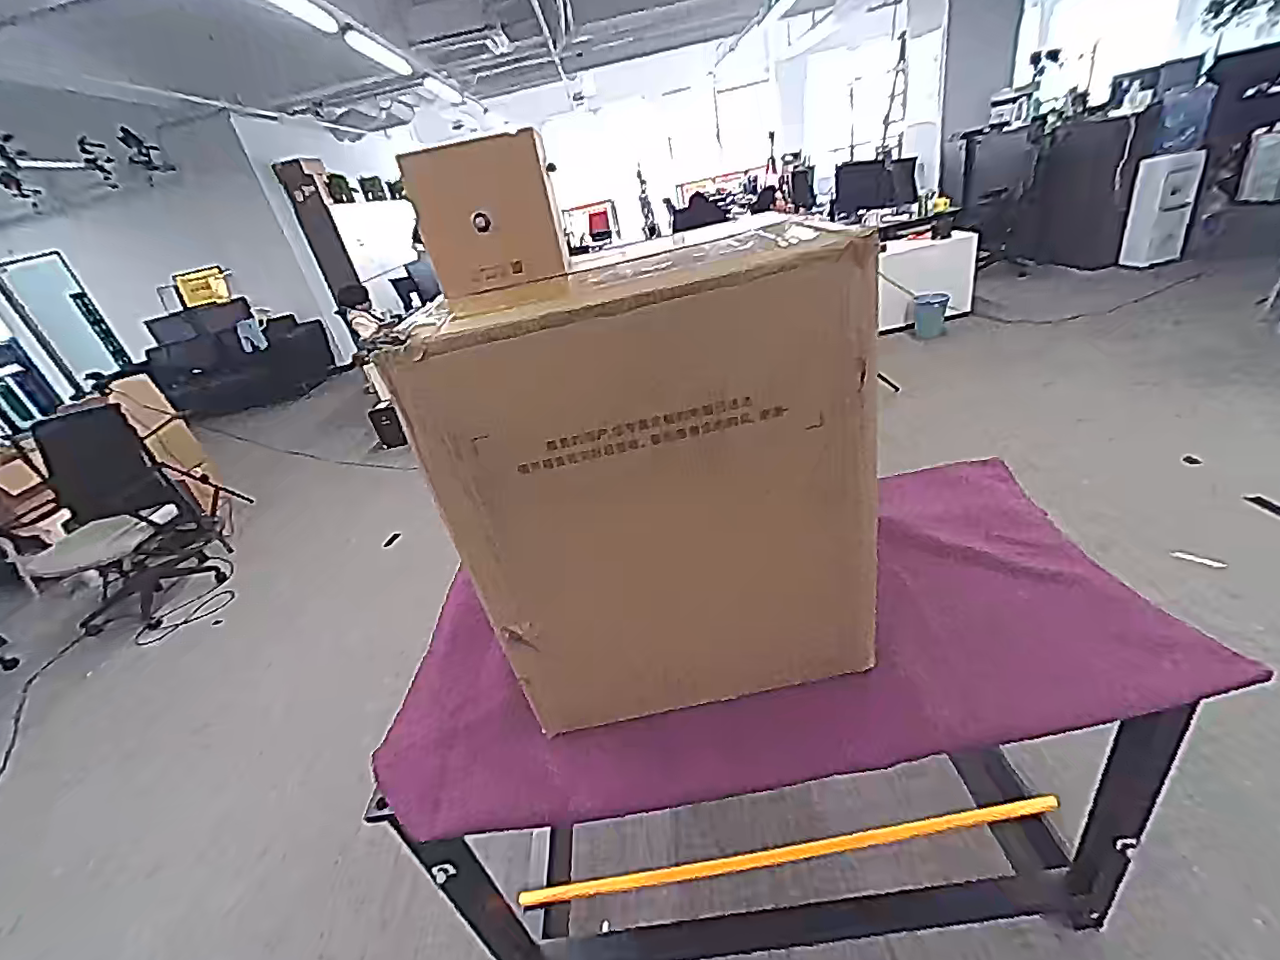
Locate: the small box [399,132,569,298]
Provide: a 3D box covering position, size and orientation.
[{"bbox_3d":[-0.195,-0.356,0.739,0.168,0.176,0.179,-11,29,0],"label":"small box"}]
